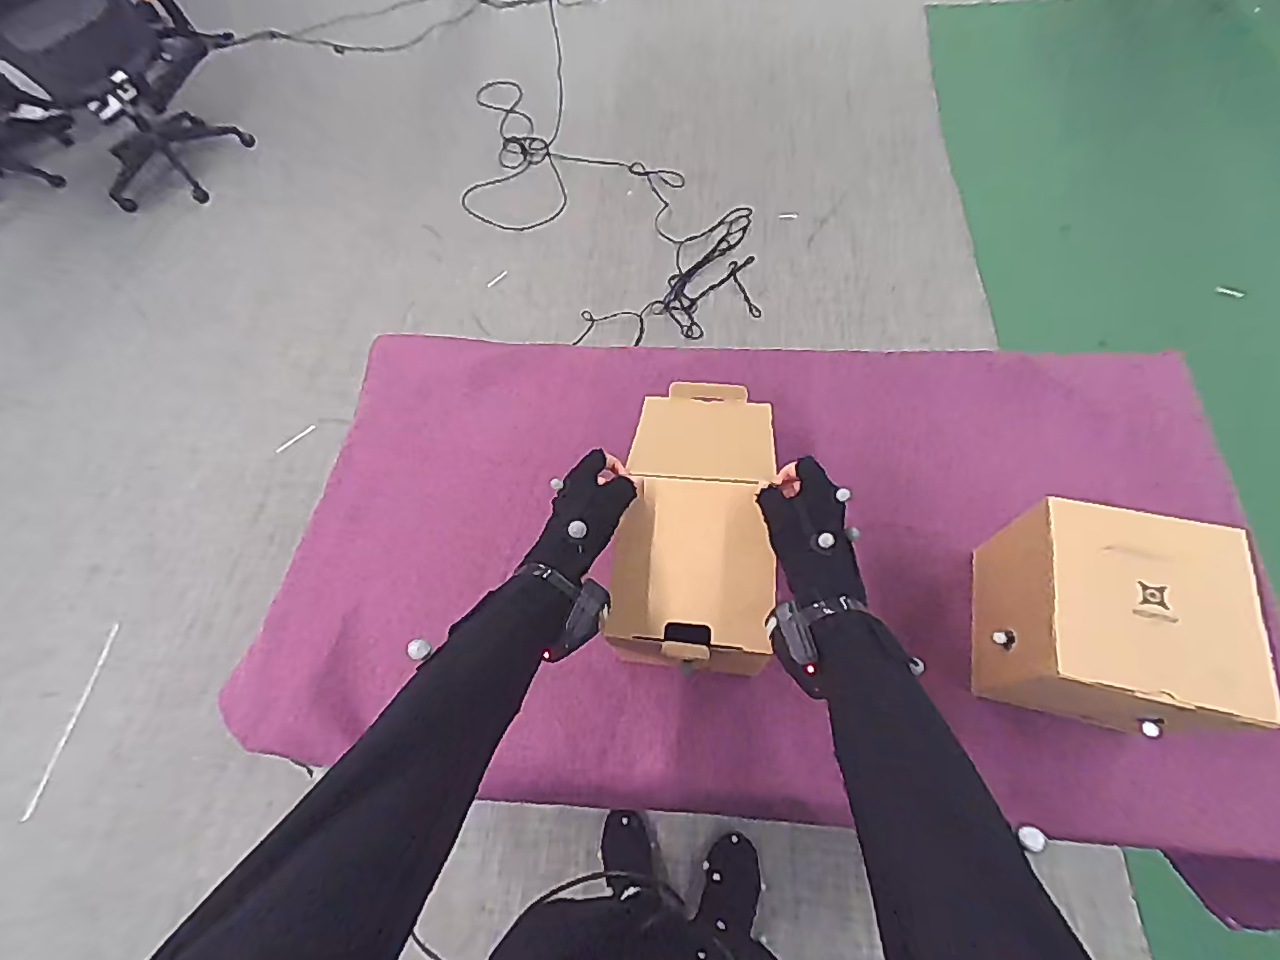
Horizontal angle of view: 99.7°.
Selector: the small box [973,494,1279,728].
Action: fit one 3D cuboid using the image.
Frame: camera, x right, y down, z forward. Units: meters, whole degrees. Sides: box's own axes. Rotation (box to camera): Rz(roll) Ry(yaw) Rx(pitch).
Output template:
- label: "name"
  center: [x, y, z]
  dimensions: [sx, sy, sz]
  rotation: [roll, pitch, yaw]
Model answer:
- label: "small box"
  center: [0.463, 0.139, 0.549]
  dimensions: [0.168, 0.176, 0.179]
  rotation: [12, 65, 12]
